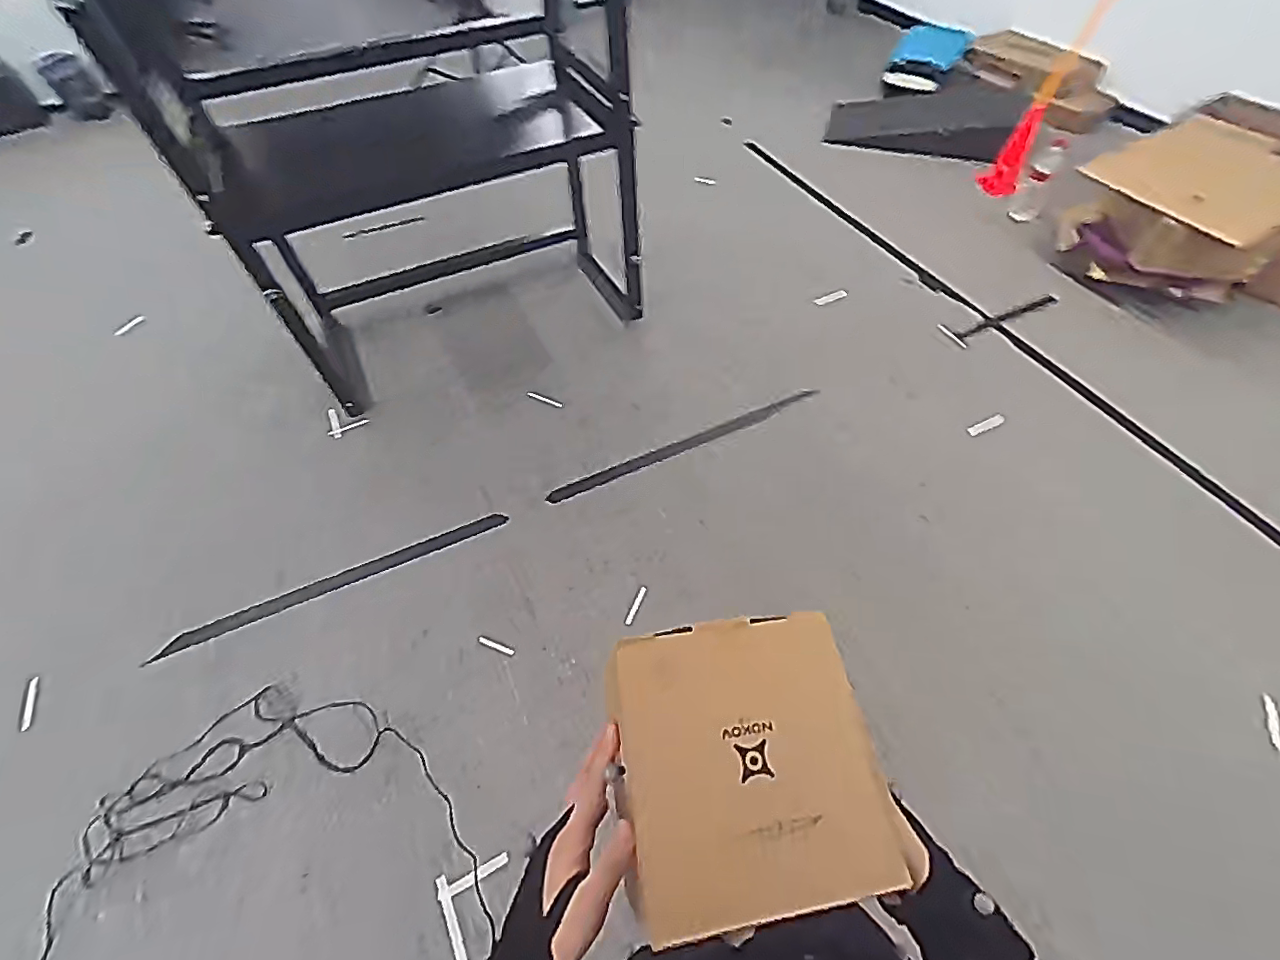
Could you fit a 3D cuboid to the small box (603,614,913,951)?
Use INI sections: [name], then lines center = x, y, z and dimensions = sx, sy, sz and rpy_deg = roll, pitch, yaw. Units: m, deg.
[small box]
center = 0.065, 0.222, 0.424
dimensions = 0.168, 0.176, 0.179
rpy_deg = -5, 62, -10
